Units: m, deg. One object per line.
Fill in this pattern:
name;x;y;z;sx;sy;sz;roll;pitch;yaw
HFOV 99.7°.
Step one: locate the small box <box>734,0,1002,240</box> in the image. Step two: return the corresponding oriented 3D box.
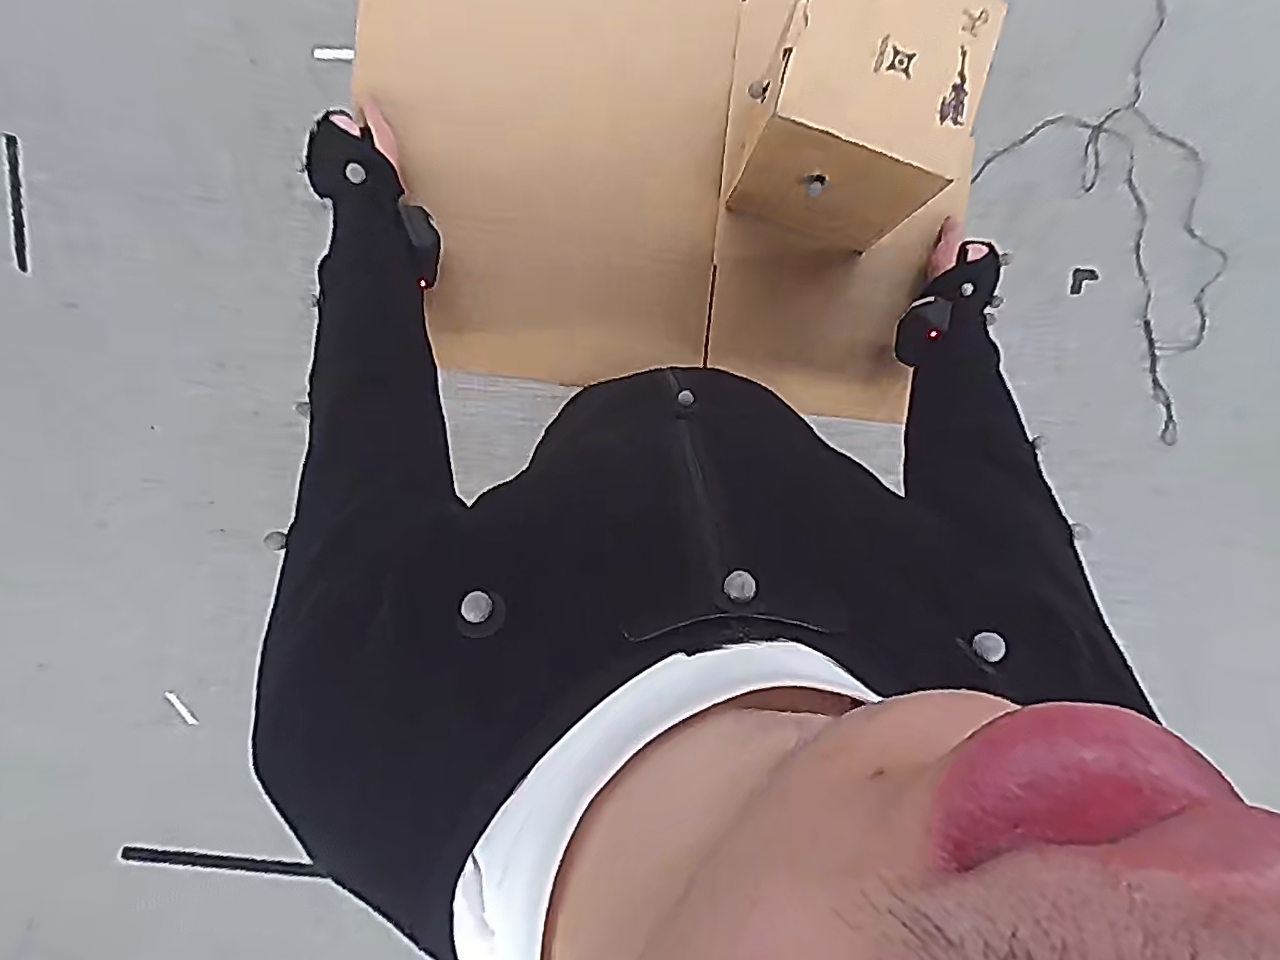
small box;0.212;-0.375;0.554;0.179;0.176;0.168;17;91;-4
